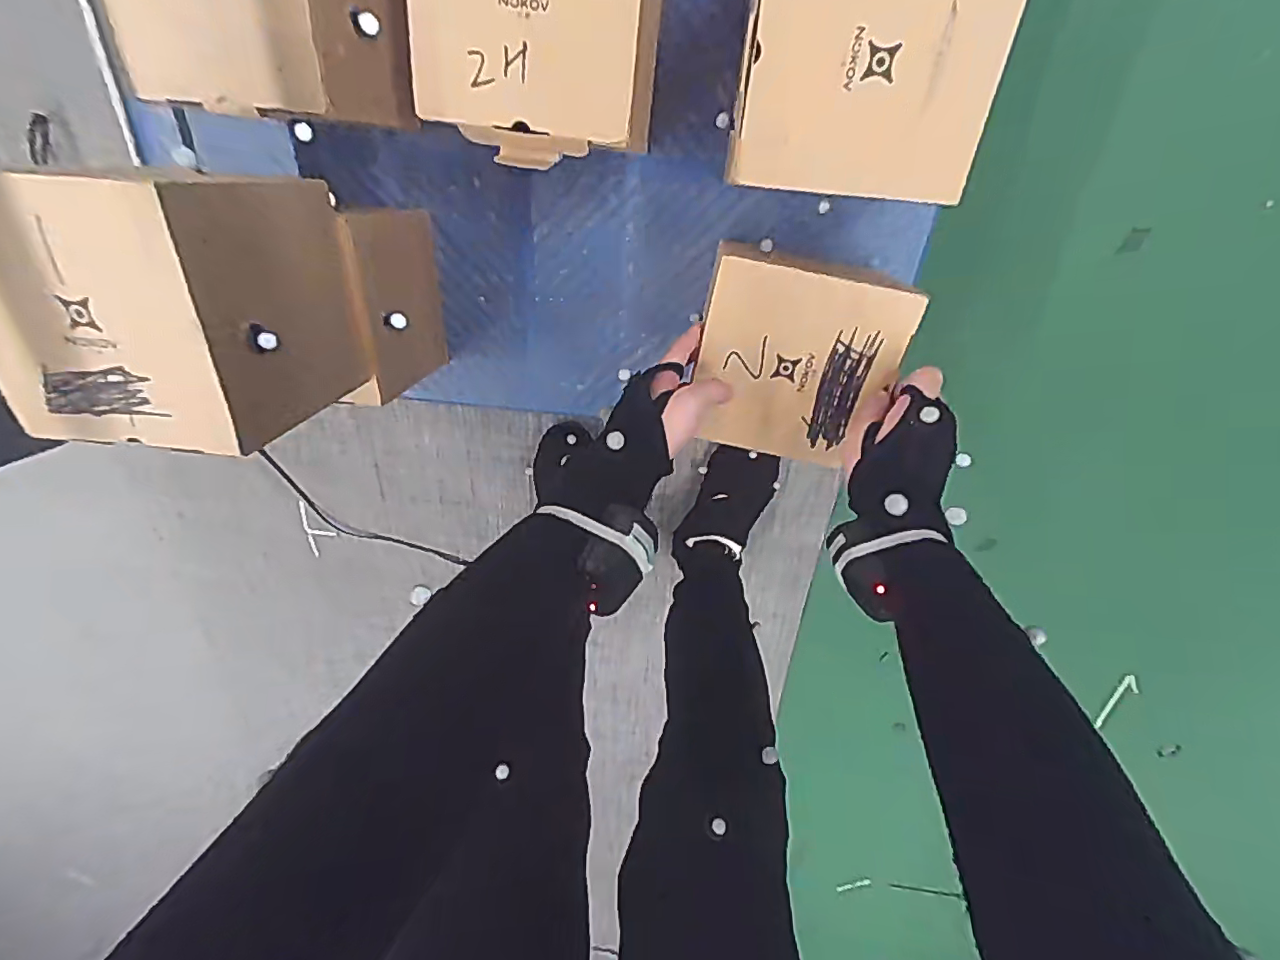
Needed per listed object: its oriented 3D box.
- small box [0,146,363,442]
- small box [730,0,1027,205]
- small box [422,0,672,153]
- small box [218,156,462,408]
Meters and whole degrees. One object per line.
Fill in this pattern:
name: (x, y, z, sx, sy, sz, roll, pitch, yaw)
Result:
small box: (-0.345, -0.150, 0.422, 0.168, 0.176, 0.179, 6, 119, 2)
small box: (0.175, -0.332, 0.450, 0.179, 0.176, 0.168, 8, 120, 2)
small box: (-0.065, -0.386, 0.446, 0.168, 0.176, 0.179, 10, 119, 2)
small box: (-0.328, -0.213, 0.583, 0.179, 0.176, 0.168, 34, 119, -11)
